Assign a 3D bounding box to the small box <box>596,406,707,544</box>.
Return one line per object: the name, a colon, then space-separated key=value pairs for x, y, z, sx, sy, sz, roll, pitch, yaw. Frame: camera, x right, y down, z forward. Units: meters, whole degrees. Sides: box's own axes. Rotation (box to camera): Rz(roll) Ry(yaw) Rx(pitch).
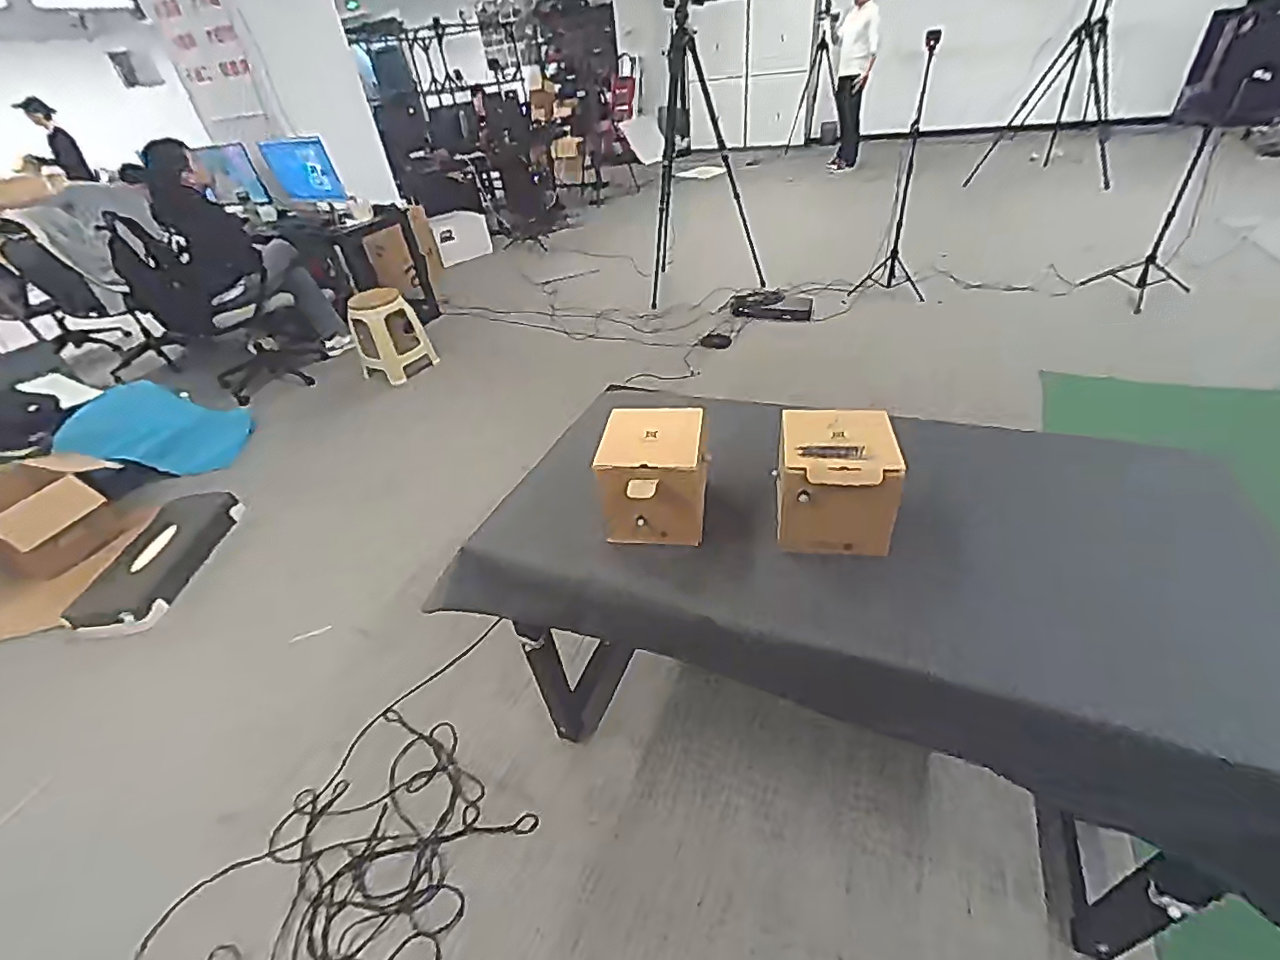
small box: x=0.029 y=-0.012 z=0.941 sx=0.168 sy=0.176 sz=0.179 roll=1 pitch=39 yaw=10
